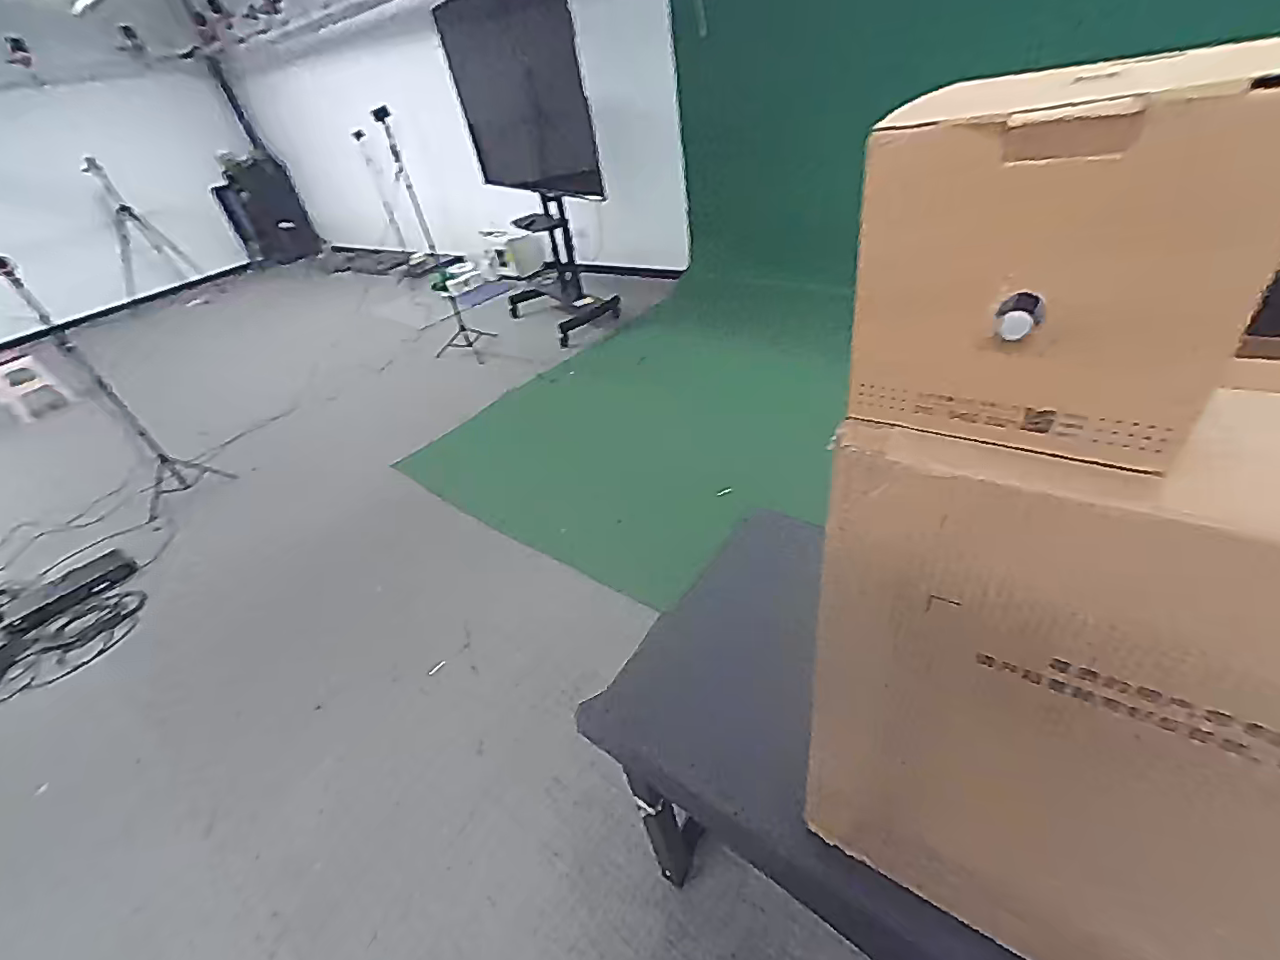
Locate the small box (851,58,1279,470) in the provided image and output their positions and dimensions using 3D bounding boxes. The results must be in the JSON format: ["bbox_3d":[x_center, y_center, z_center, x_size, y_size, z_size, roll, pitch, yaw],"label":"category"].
[{"bbox_3d":[0.239,-0.129,0.330,0.168,0.176,0.179,18,45,33],"label":"small box"}]
